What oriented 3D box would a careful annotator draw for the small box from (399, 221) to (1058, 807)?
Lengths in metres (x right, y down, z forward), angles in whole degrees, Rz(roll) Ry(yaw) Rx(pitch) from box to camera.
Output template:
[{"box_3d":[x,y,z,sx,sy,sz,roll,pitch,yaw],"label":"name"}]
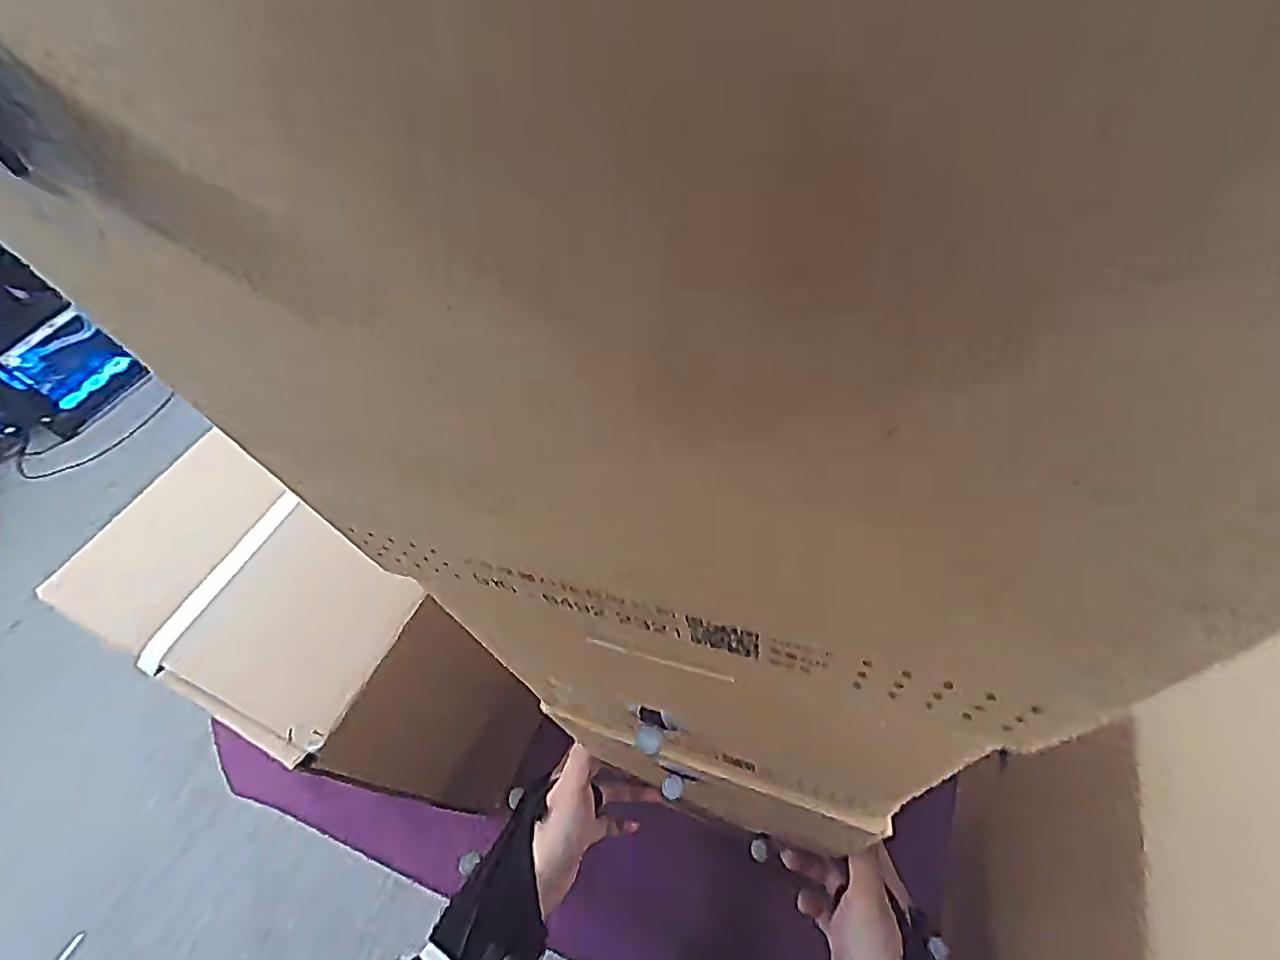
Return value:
[{"box_3d":[0.044,0.014,0.236,0.168,0.176,0.179,10,56,19],"label":"small box"}]
